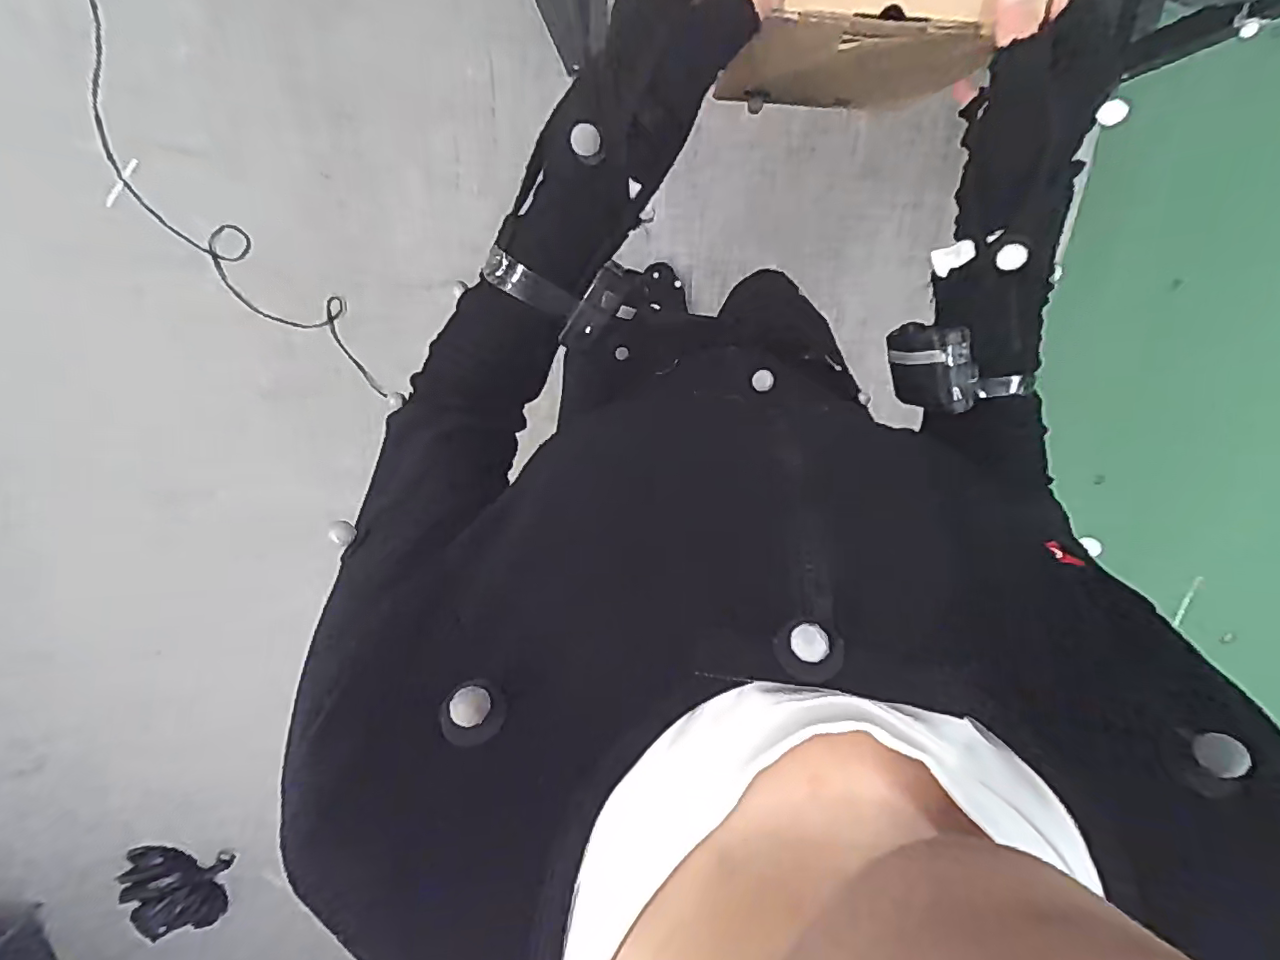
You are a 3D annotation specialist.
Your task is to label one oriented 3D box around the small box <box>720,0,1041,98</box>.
[{"bbox_3d":[0.148,-0.371,0.346,0.168,0.176,0.179,3,110,-1],"label":"small box"}]
